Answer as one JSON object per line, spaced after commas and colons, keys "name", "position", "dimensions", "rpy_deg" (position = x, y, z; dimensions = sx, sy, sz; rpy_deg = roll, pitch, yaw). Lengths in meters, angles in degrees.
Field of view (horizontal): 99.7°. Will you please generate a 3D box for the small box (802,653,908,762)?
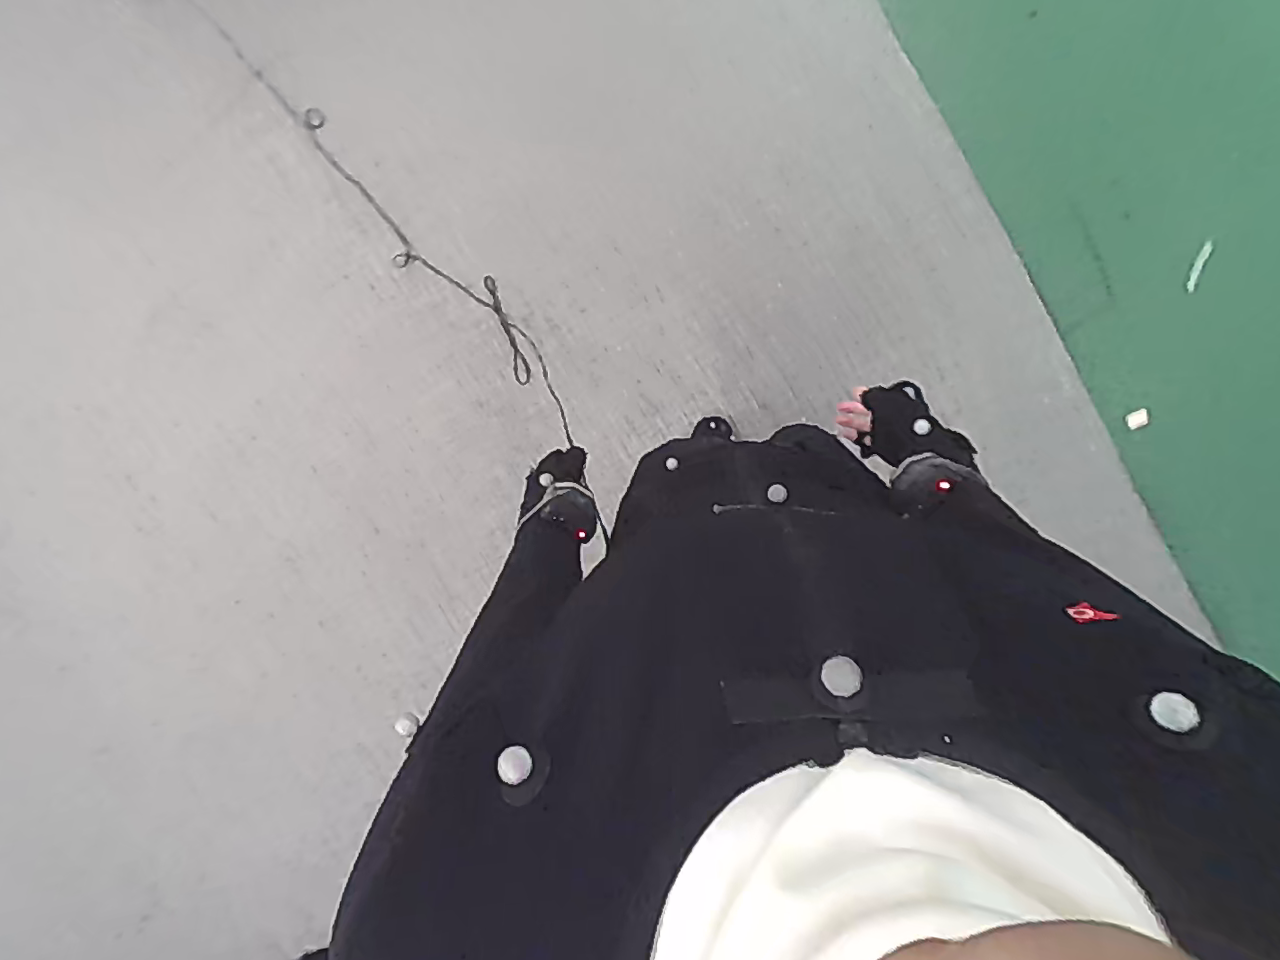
{"name": "small box", "position": [0.549, 0.580, 1.403], "dimensions": [0.179, 0.176, 0.168], "rpy_deg": [-29, 93, 7]}
